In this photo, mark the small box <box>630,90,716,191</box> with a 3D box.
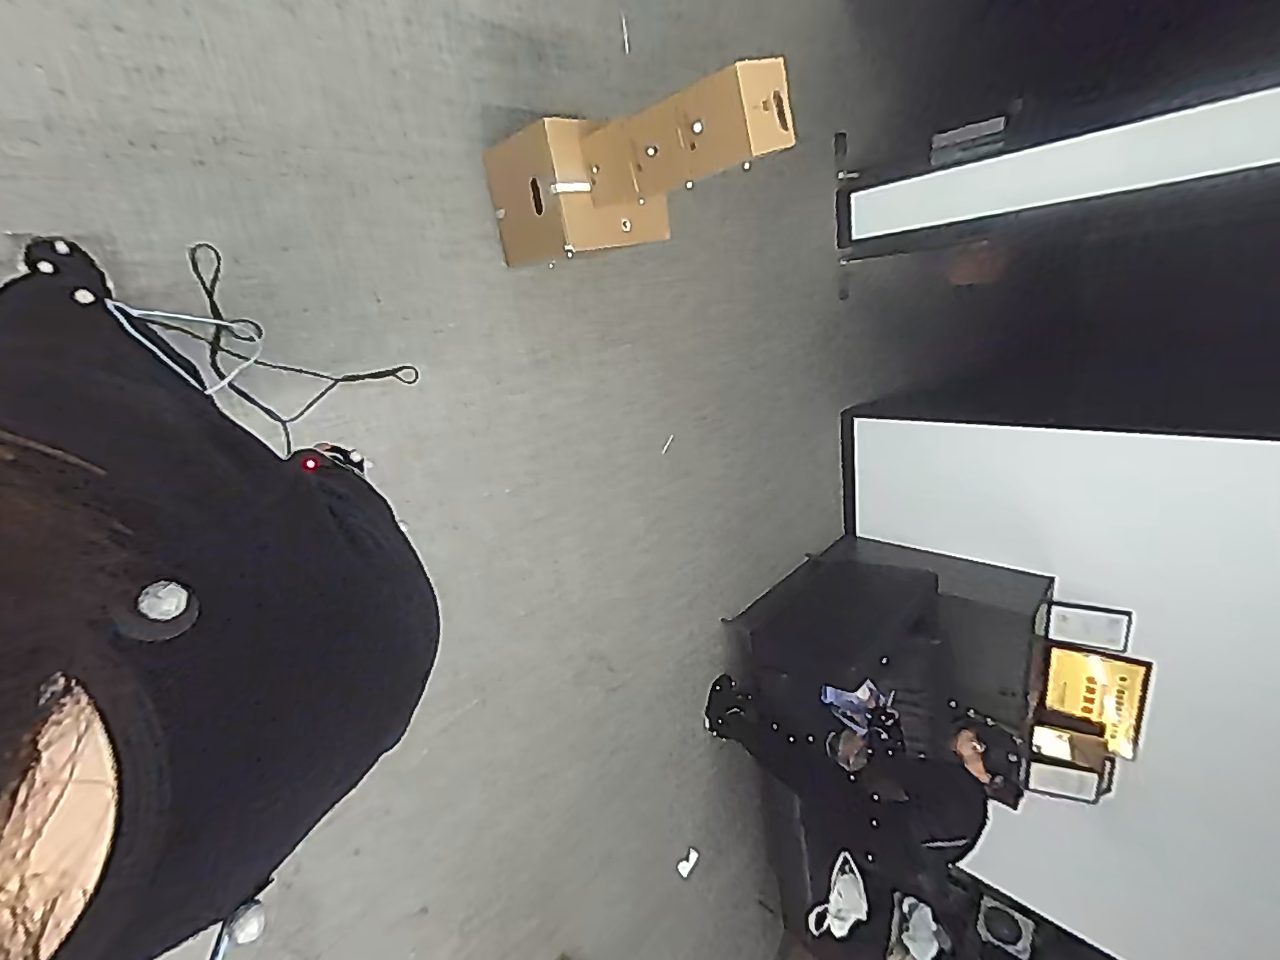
[{"bbox_3d":[0.095,-0.811,1.293,0.179,0.176,0.168,-35,120,-33],"label":"small box"}]

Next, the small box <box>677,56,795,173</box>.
[{"bbox_3d":[0.210,-0.791,1.176,0.179,0.176,0.168,-36,120,-33],"label":"small box"}]
